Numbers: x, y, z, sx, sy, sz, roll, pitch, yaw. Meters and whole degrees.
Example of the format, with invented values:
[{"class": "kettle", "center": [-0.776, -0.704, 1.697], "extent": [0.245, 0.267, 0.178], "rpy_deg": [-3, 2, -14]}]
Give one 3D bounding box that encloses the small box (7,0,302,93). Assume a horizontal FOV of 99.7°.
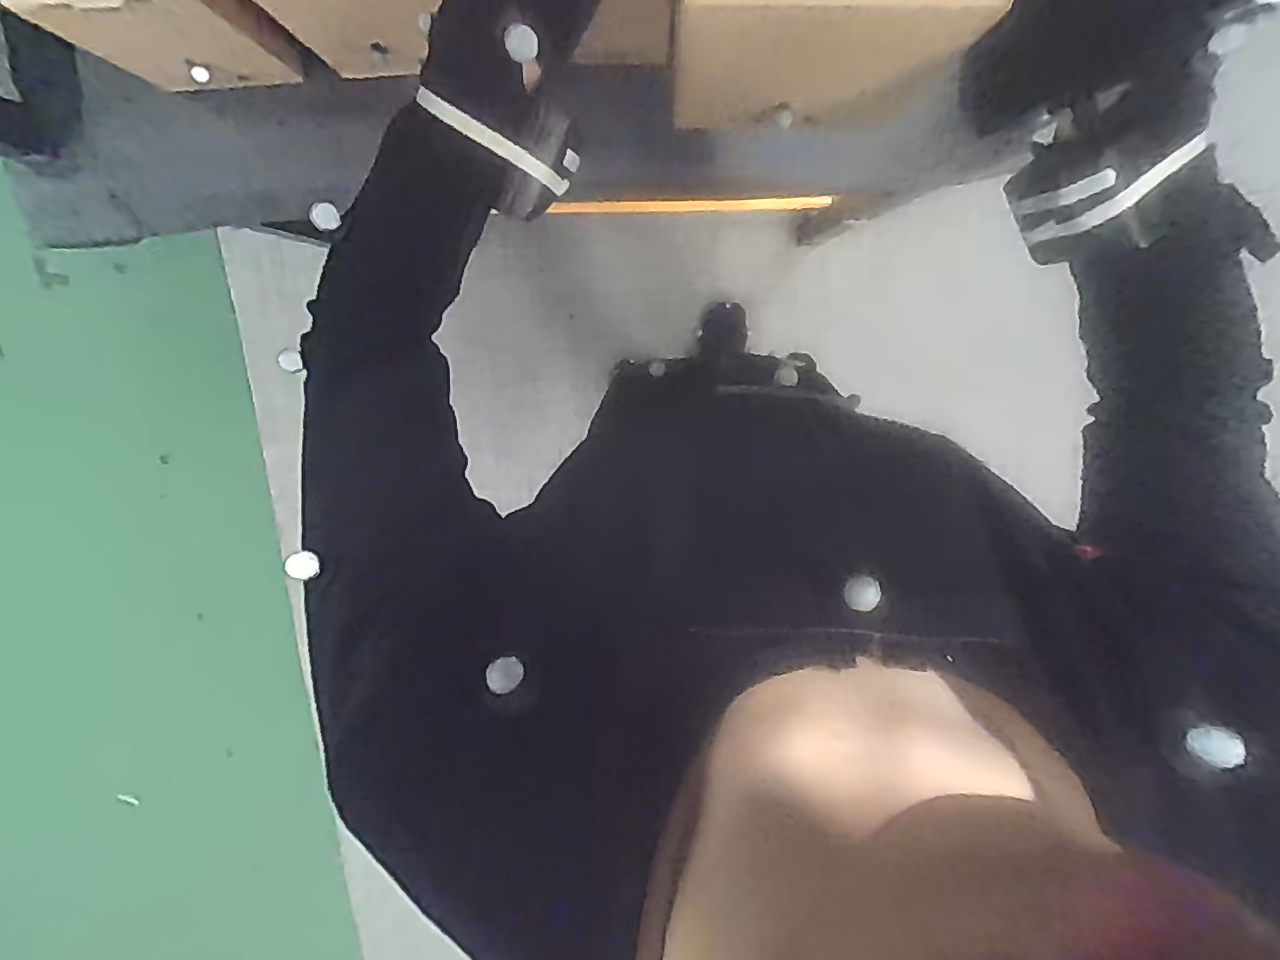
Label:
[{"class": "small box", "center": [-0.468, -0.513, 0.522], "extent": [0.168, 0.176, 0.179], "rpy_deg": [-3, 105, 1]}]
